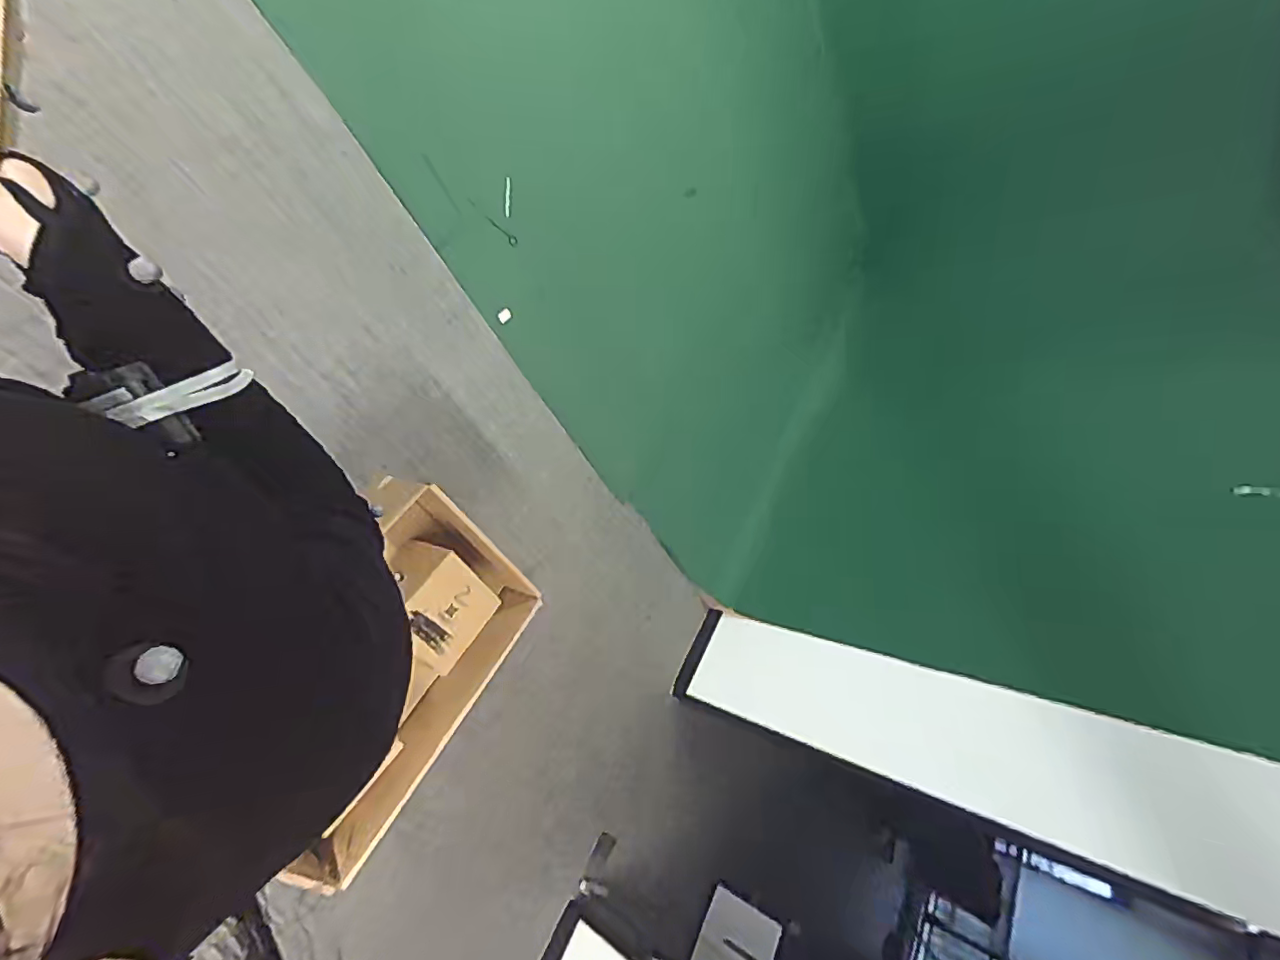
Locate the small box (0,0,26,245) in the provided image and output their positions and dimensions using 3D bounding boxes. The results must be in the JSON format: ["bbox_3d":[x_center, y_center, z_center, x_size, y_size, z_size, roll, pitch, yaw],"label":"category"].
[{"bbox_3d":[-0.487,-0.257,0.312,0.168,0.176,0.179,3,94,-46],"label":"small box"}]
